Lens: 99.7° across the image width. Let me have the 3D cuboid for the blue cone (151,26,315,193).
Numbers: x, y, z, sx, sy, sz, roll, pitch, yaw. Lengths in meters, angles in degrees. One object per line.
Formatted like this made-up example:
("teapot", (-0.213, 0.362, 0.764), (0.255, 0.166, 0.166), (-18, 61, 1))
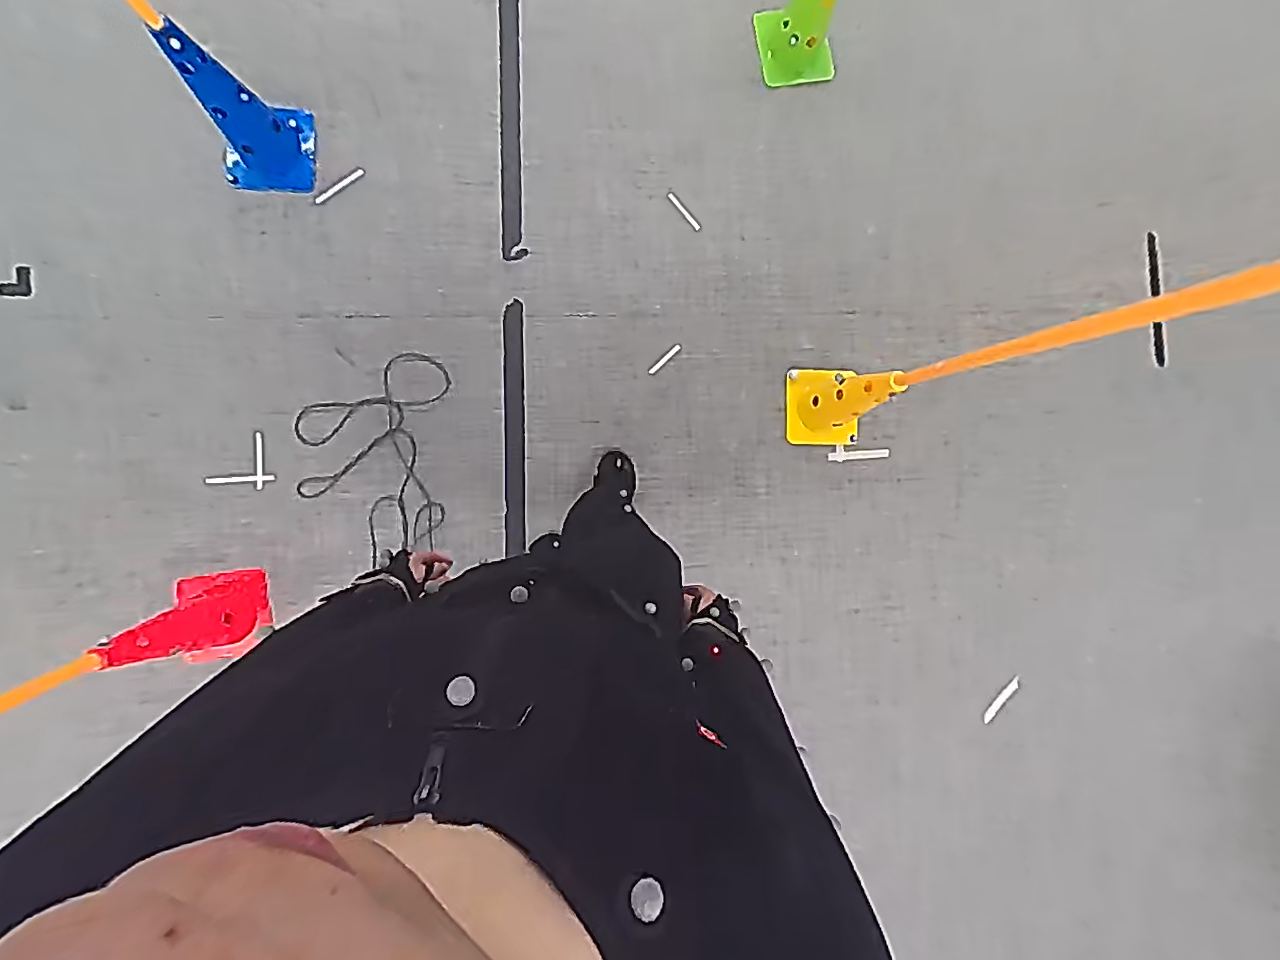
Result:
("blue cone", (-0.868, -0.796, 1.140), (0.193, 0.380, 0.192), (1, 89, -6))

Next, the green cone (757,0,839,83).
("green cone", (0.437, -1.171, 1.277), (0.200, 0.368, 0.202), (-12, 92, -6))

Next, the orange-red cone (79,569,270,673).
("orange-red cone", (-0.954, 0.311, 1.092), (0.199, 0.360, 0.198), (-6, 90, -8))
